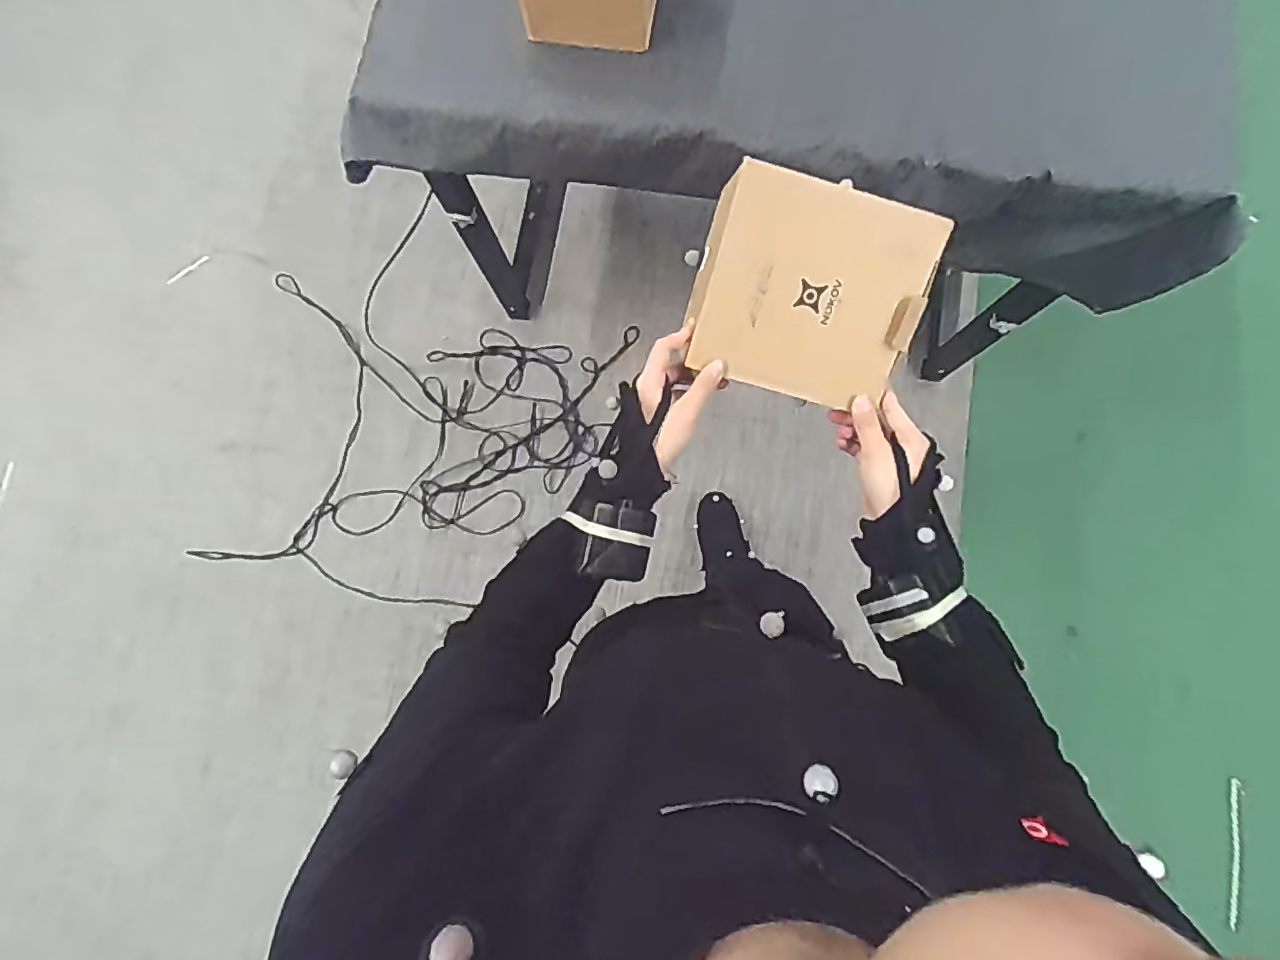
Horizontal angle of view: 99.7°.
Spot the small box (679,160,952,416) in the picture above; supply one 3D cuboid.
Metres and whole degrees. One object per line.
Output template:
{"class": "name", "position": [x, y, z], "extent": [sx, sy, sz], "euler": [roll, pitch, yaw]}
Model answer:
{"class": "small box", "position": [0.142, -0.174, 0.514], "extent": [0.179, 0.176, 0.168], "euler": [14, 108, -2]}

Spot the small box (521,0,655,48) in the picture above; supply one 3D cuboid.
{"class": "small box", "position": [-0.069, -0.718, 0.713], "extent": [0.179, 0.176, 0.168], "euler": [8, 80, 3]}
